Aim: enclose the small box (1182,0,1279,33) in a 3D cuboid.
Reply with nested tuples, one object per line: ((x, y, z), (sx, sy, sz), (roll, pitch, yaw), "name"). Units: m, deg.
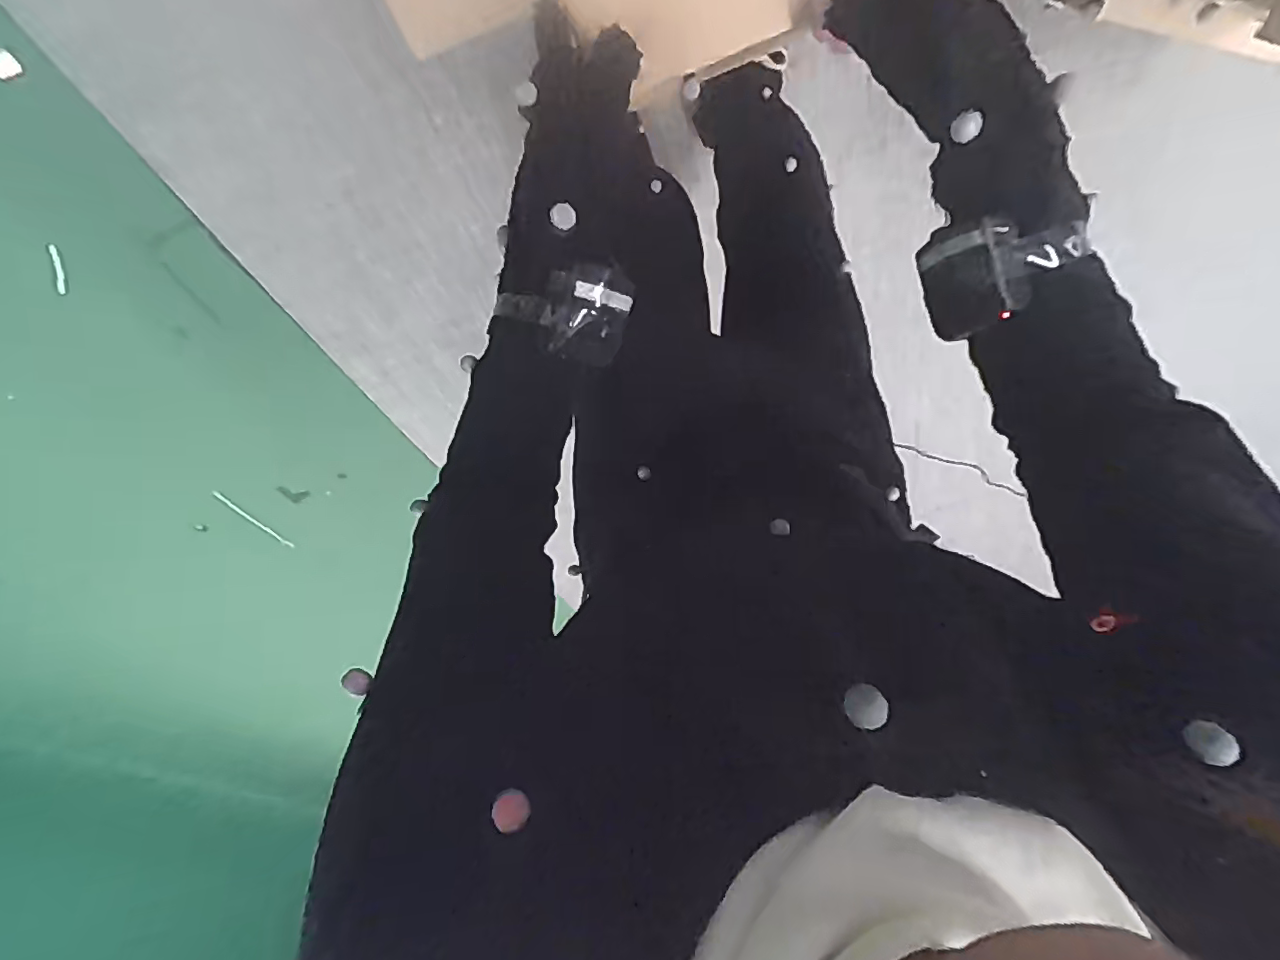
((0.668, -0.547, 0.513), (0.168, 0.176, 0.179), (7, 140, -11), "small box")

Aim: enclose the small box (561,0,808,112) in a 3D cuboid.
((0.021, -0.400, 0.397), (0.179, 0.176, 0.168), (-20, 118, 10), "small box")
